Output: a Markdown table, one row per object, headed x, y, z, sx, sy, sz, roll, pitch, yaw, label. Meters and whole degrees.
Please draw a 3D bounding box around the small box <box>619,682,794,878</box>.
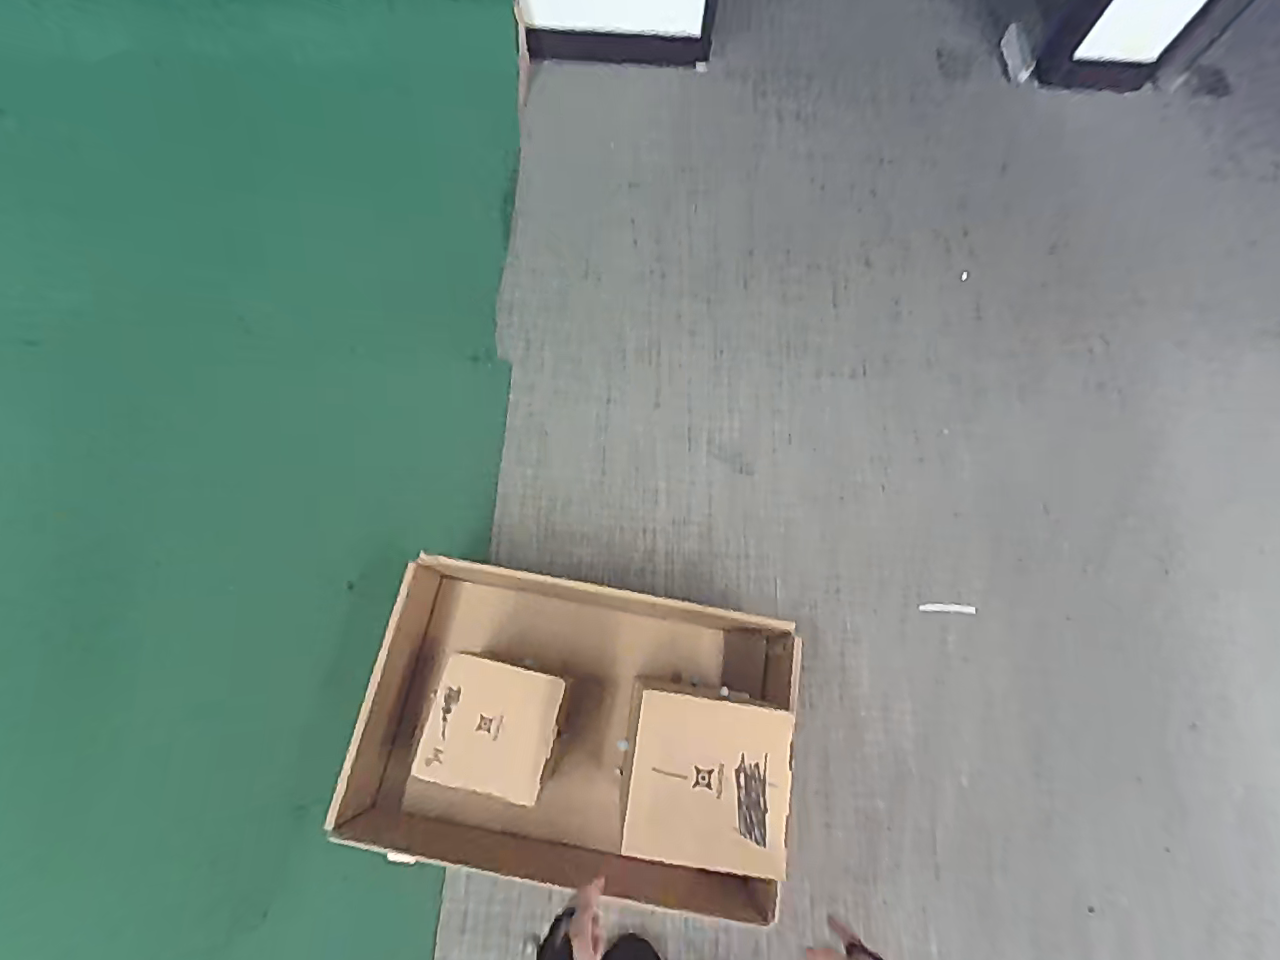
| x | y | z | sx | sy | sz | roll | pitch | yaw | label |
| --- | --- | --- | --- | --- | --- | --- | --- | --- | --- |
| 0.074 | 0.348 | 0.663 | 0.179 | 0.176 | 0.168 | 9 | 72 | 2 | small box |
